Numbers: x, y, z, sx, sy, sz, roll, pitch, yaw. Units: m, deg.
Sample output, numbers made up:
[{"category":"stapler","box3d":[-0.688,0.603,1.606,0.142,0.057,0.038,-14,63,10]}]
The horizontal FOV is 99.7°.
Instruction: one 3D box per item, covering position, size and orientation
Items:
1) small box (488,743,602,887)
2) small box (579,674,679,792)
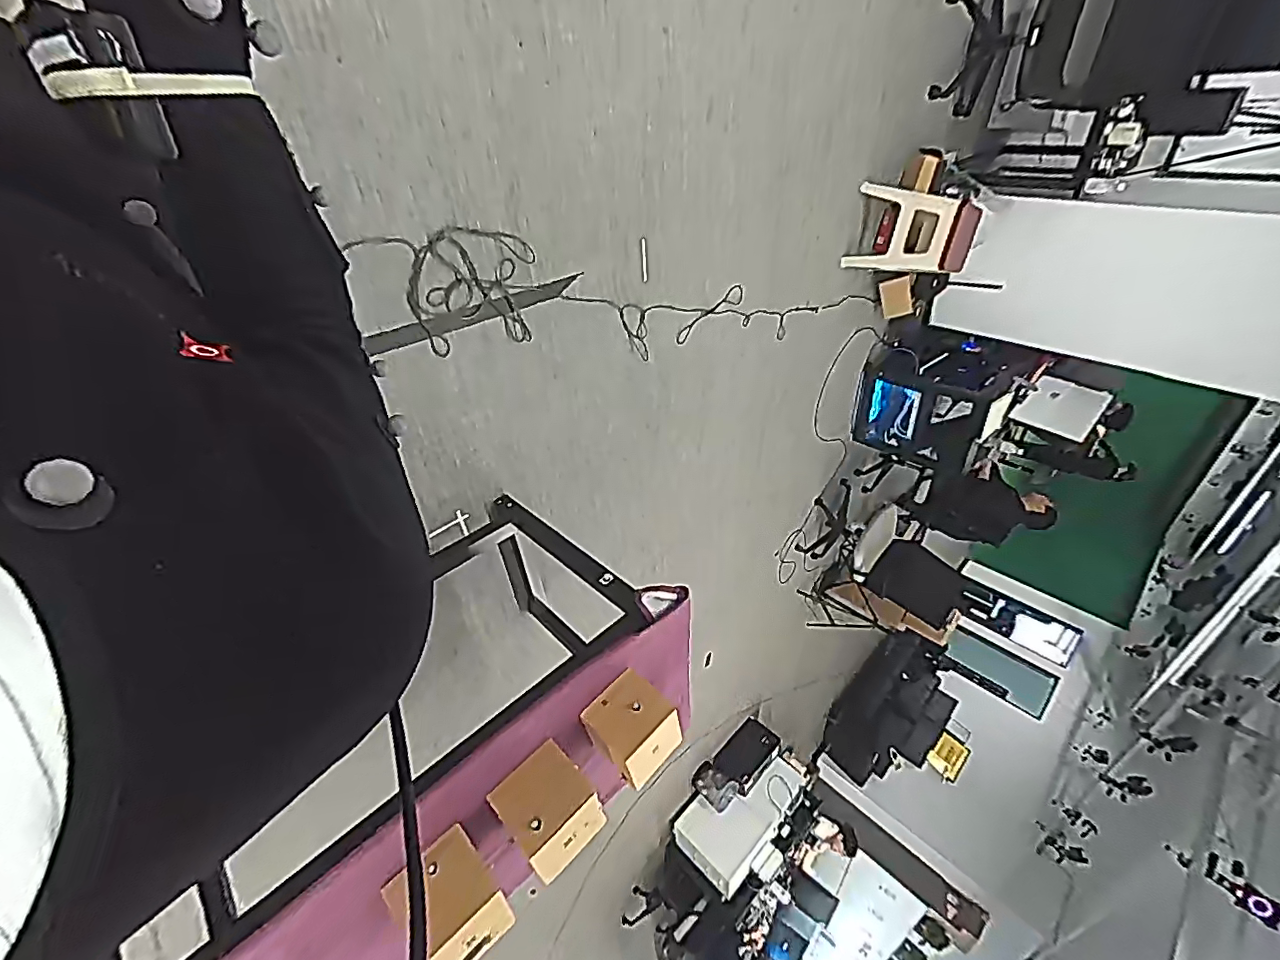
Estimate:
[{"category":"small box","box3d":[-0.210,0.726,1.182,0.179,0.176,0.168,-35,137,-30]},{"category":"small box","box3d":[-0.028,0.607,1.319,0.168,0.176,0.179,-37,137,-28]}]
